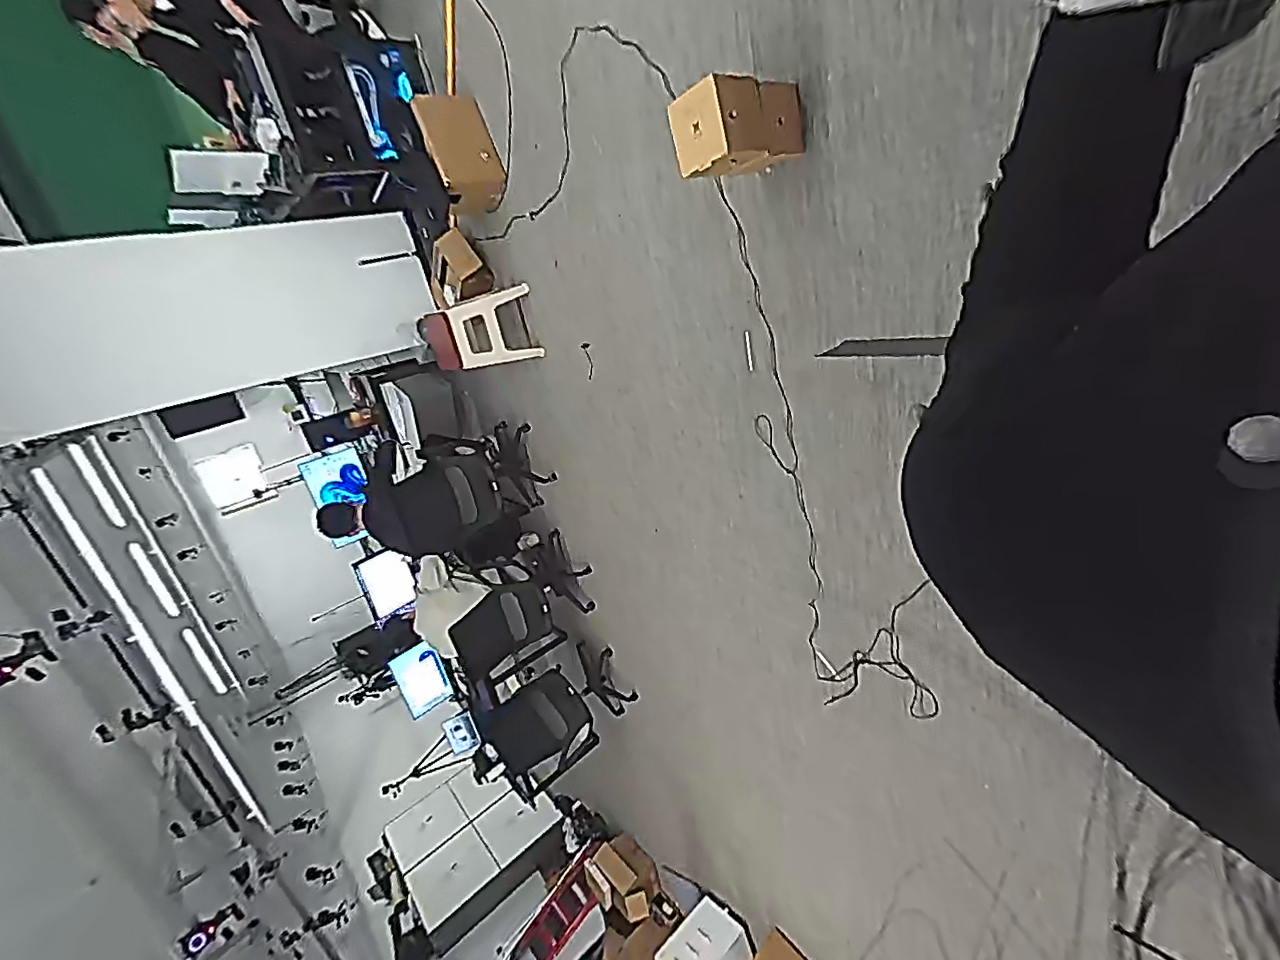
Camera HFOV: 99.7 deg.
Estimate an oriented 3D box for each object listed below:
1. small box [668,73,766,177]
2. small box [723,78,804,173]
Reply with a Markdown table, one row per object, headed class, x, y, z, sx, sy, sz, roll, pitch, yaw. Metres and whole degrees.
| class | x | y | z | sx | sy | sz | roll | pitch | yaw |
| --- | --- | --- | --- | --- | --- | --- | --- | --- | --- |
| small box | 0.203 | -0.909 | 1.391 | 0.168 | 0.176 | 0.179 | 5 | 115 | 51 |
| small box | 0.326 | -0.965 | 1.482 | 0.168 | 0.176 | 0.179 | 9 | 120 | 51 |
